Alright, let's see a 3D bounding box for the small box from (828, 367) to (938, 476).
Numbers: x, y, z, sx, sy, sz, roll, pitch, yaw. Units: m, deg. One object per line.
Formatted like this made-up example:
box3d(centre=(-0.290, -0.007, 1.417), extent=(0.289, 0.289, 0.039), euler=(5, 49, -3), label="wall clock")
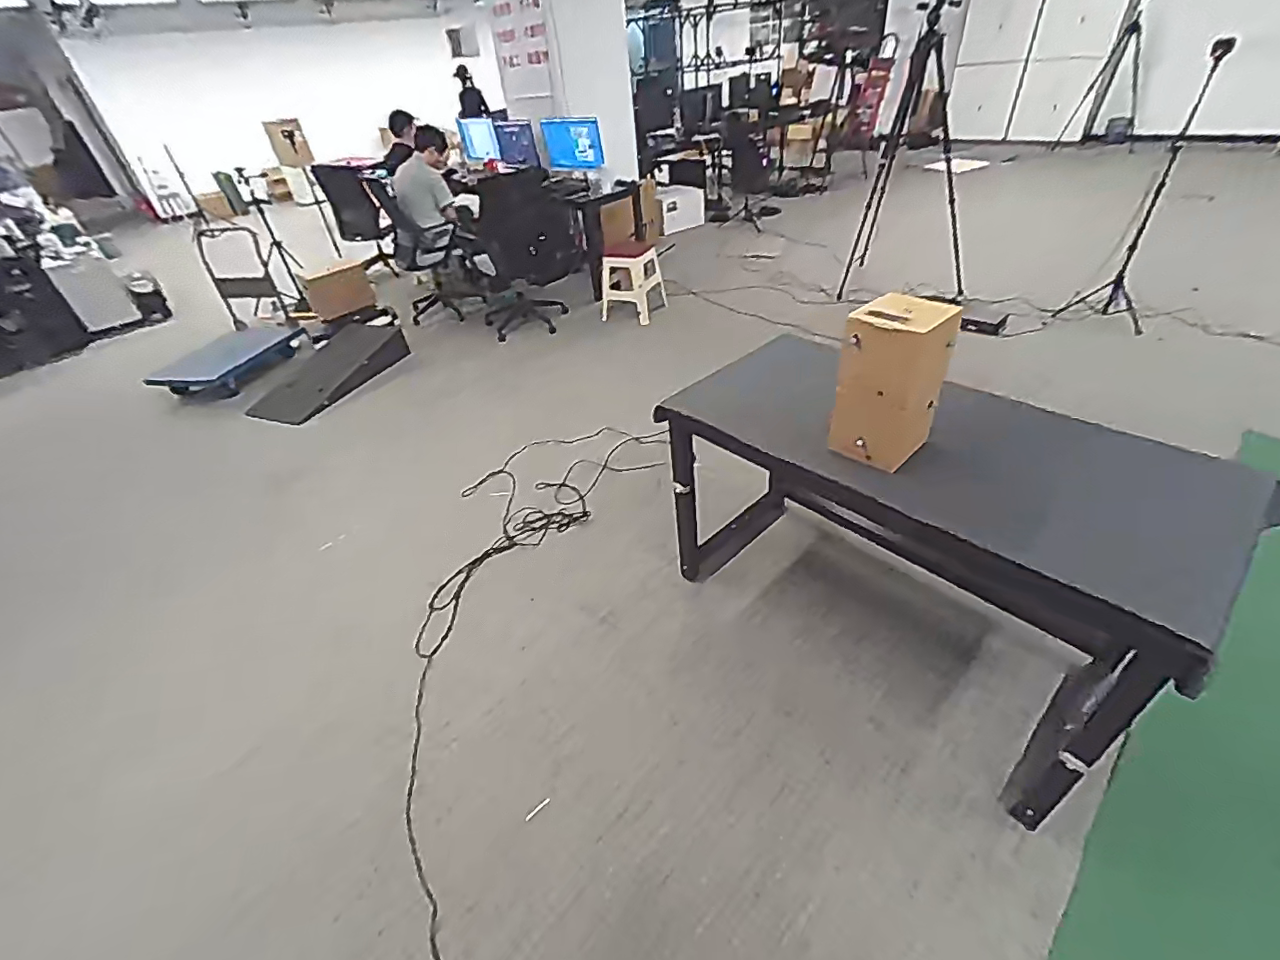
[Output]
box3d(centre=(0.562, -0.139, 1.269), extent=(0.179, 0.176, 0.168), euler=(-33, 45, -31), label="small box")
